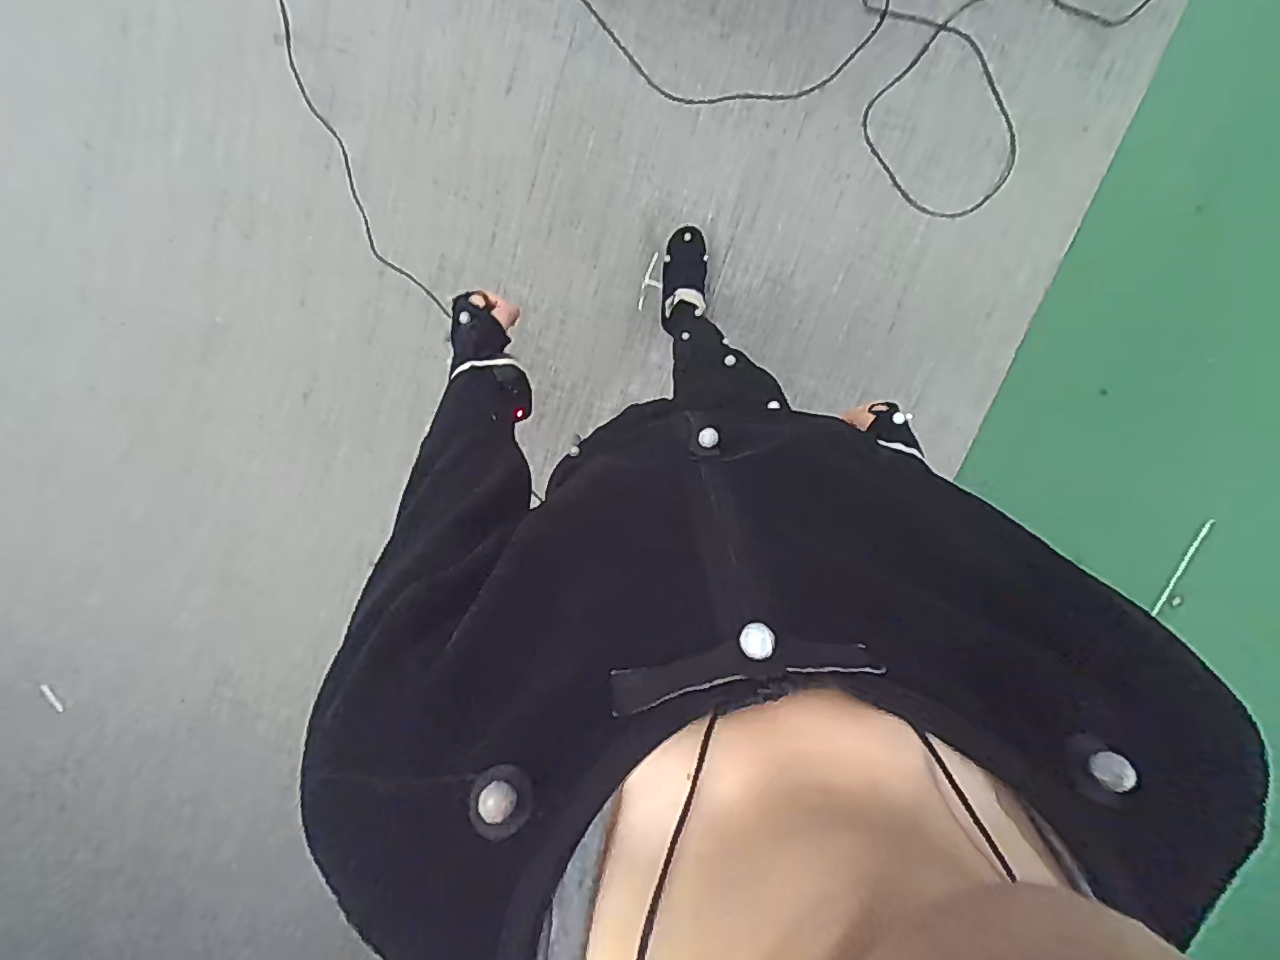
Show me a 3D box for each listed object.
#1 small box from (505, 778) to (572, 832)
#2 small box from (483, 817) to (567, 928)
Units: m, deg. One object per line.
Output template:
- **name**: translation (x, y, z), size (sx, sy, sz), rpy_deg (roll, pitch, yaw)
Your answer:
- **small box**: translation (-0.312, 1.037, 1.635), size (0.179, 0.176, 0.168), rpy_deg (14, 102, -5)
- **small box**: translation (-0.307, 1.061, 1.473), size (0.179, 0.176, 0.168), rpy_deg (14, 102, -6)
